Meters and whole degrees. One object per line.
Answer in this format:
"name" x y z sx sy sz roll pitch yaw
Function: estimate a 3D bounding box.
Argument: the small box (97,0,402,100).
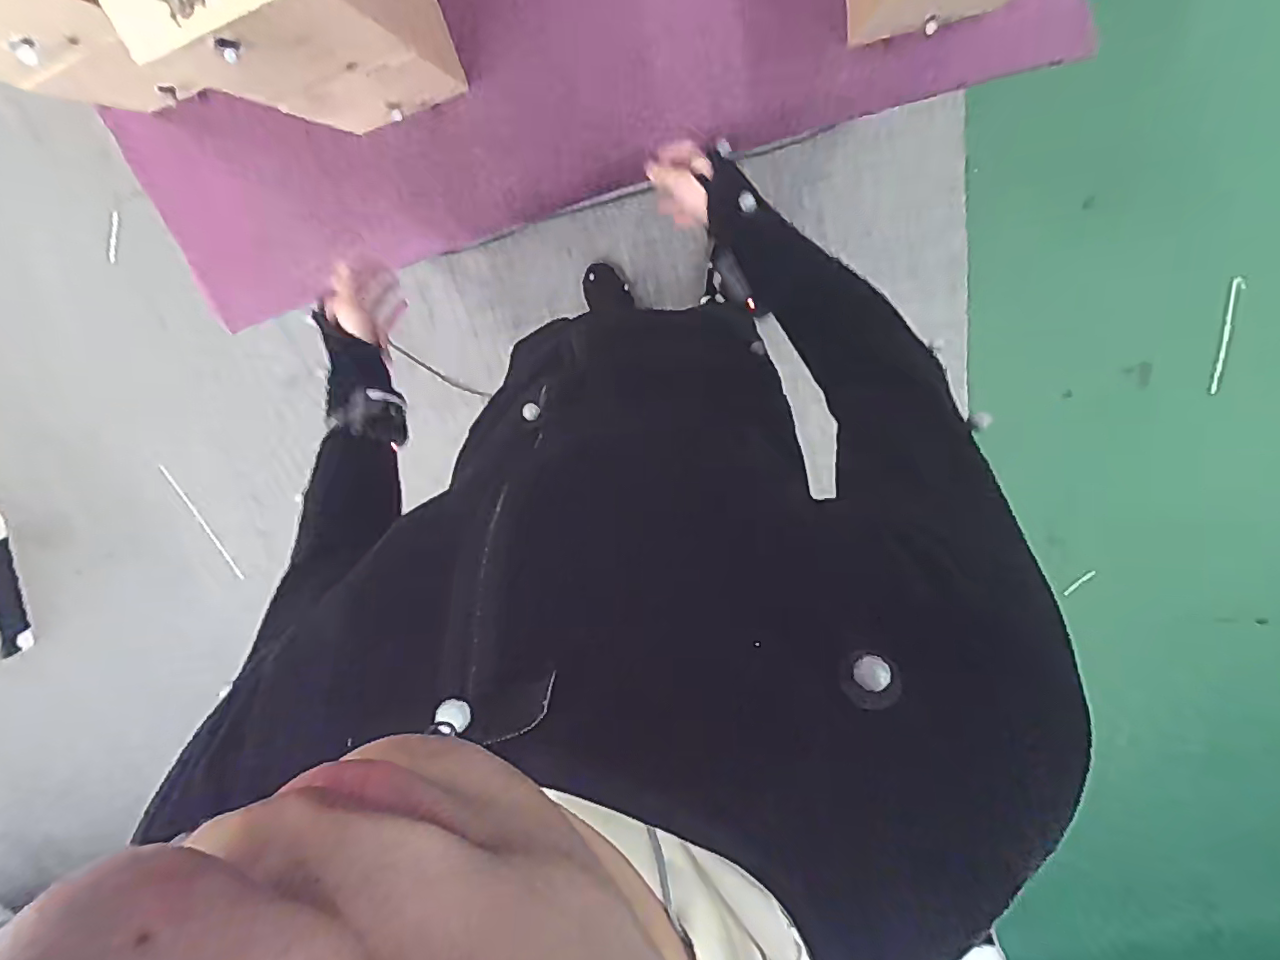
"small box" -0.335 -0.453 0.443 0.168 0.176 0.179 -15 114 10

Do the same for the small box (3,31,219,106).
"small box" -0.607 -0.549 0.594 0.168 0.176 0.179 -15 115 11

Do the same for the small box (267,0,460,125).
"small box" -0.328 -0.523 0.592 0.168 0.176 0.179 -14 115 10
